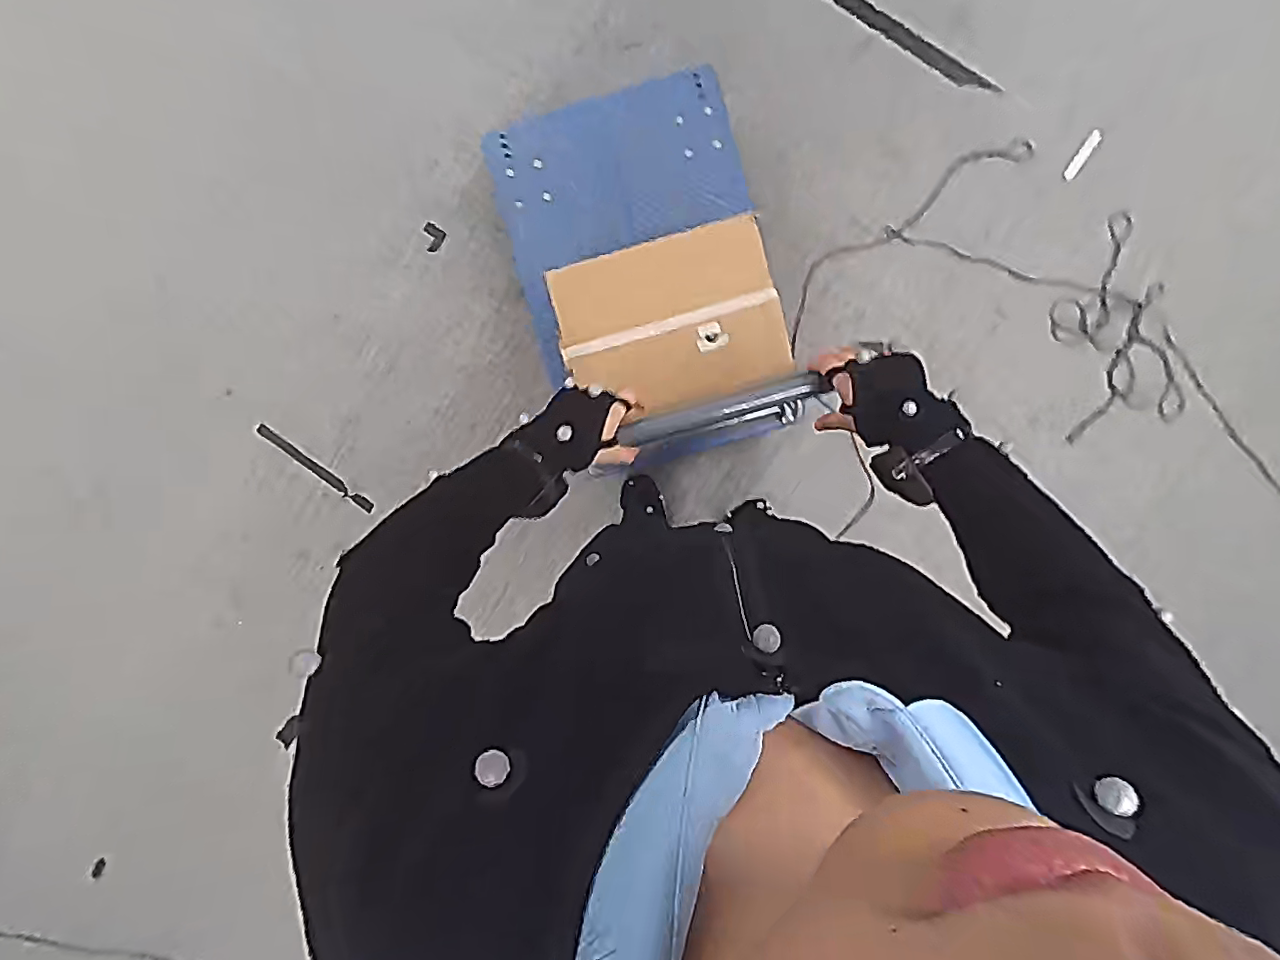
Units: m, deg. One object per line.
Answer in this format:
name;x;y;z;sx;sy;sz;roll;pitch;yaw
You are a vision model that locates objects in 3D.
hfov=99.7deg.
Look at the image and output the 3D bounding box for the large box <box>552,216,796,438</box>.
large box;0.066;-0.294;1.162;0.408;0.320;0.320;-16;93;2
